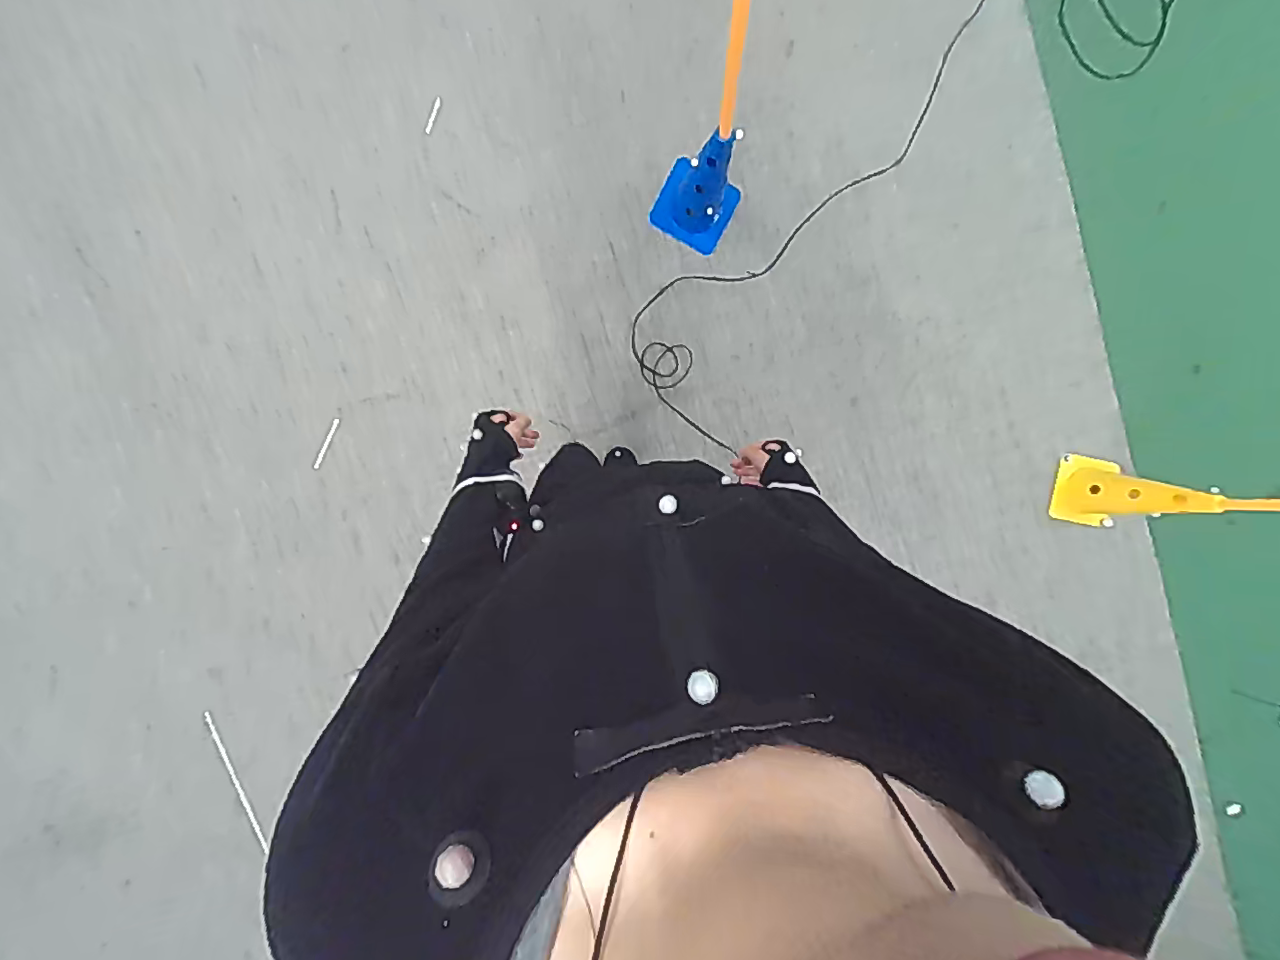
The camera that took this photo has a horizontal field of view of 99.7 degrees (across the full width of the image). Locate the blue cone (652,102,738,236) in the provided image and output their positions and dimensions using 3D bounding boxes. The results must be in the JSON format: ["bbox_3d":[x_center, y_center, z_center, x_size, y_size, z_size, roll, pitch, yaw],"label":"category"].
[{"bbox_3d":[0.155,-0.744,1.265,0.193,0.380,0.192,26,93,-6],"label":"blue cone"}]
